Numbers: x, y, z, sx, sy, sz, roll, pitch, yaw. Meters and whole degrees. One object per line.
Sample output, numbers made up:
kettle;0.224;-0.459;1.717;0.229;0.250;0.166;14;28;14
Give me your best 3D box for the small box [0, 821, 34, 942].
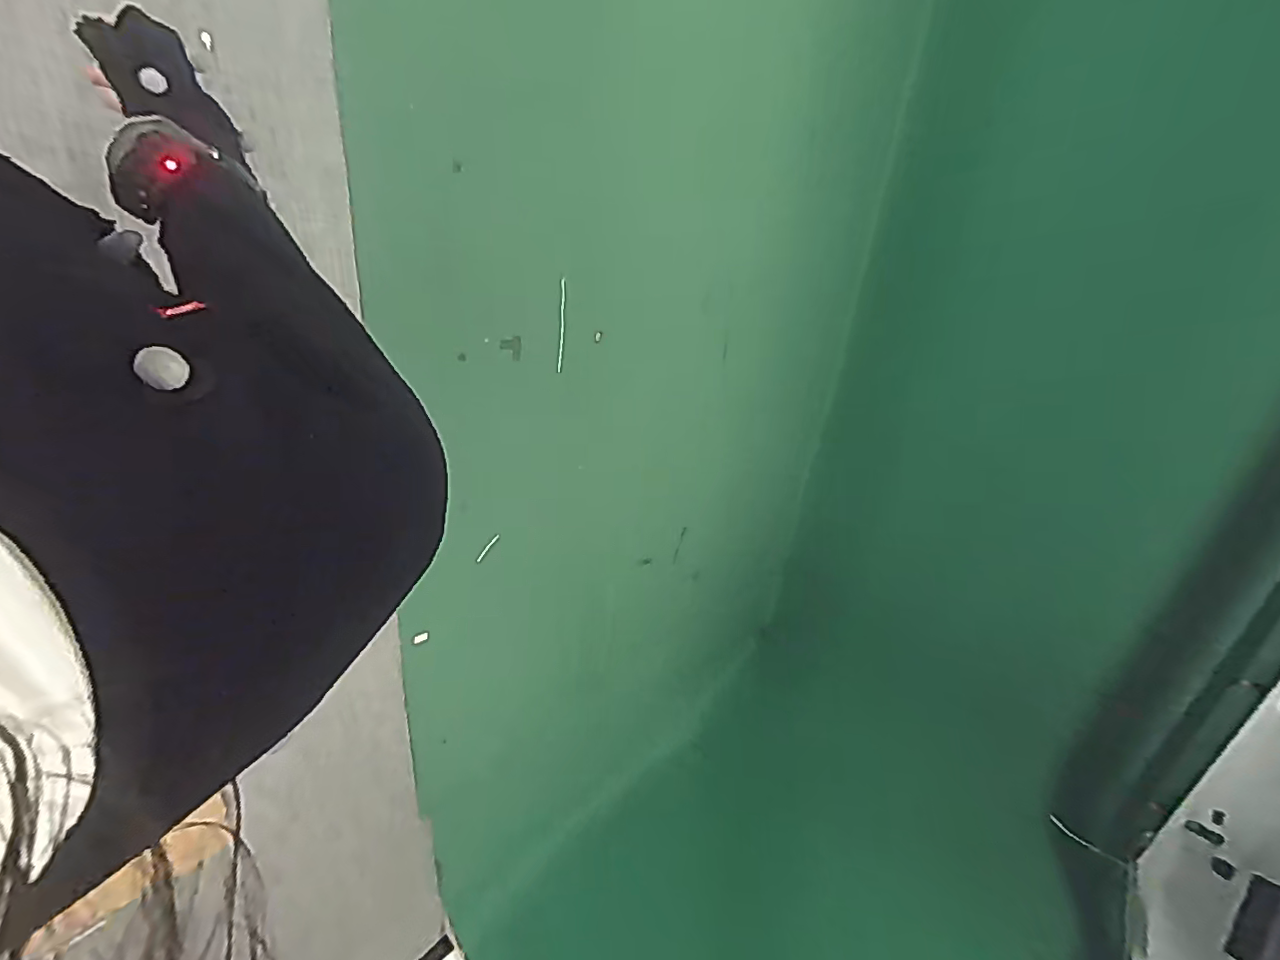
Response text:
small box;-1.351;0.825;1.076;0.168;0.176;0.179;-12;120;-48
